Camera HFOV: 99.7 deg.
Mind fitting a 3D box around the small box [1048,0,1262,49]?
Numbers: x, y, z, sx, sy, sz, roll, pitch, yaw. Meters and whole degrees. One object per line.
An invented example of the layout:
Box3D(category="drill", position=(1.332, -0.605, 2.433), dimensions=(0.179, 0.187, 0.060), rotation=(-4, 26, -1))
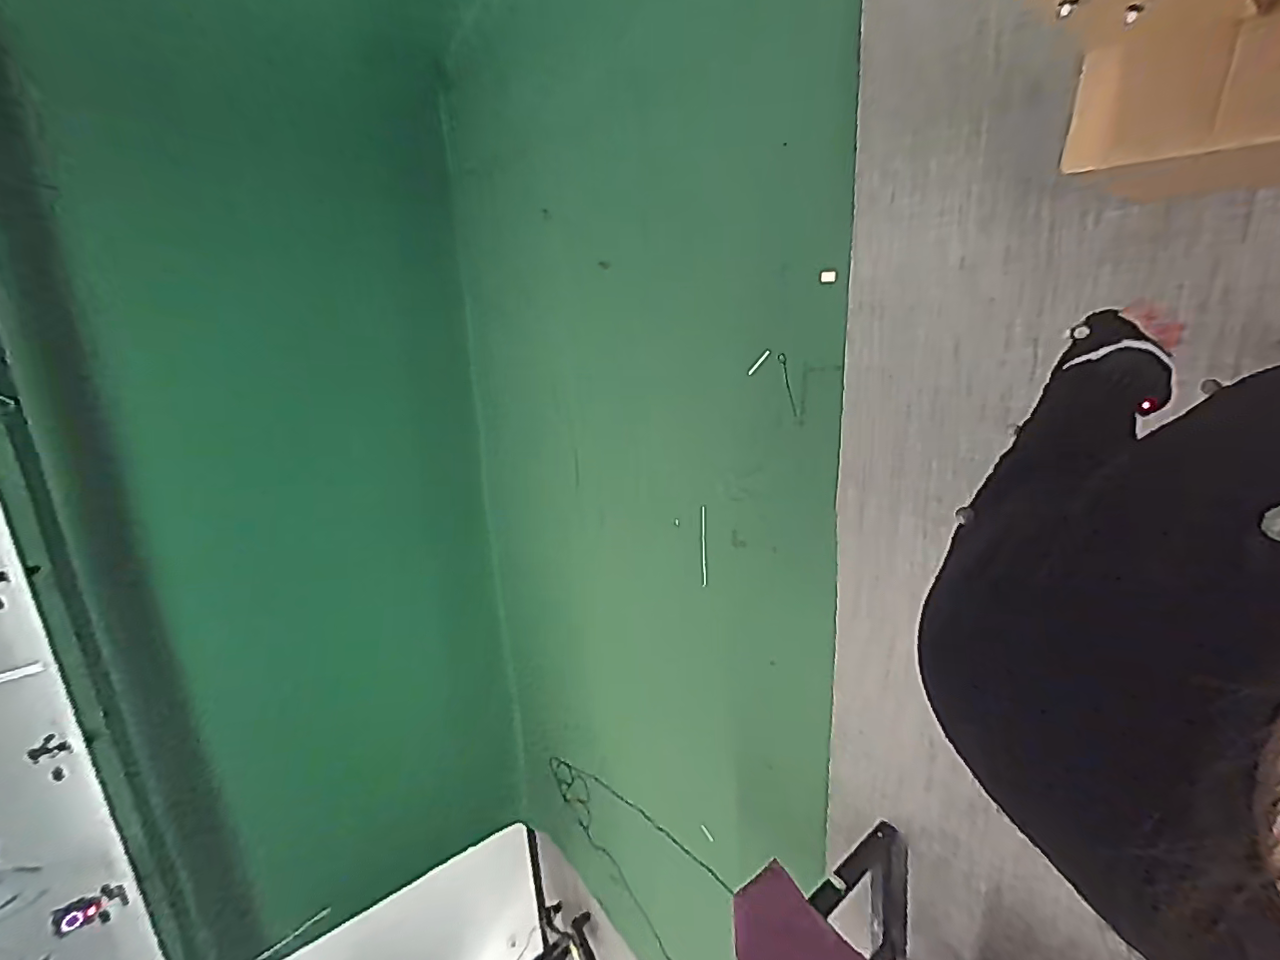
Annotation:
Box3D(category="small box", position=(0.640, -0.649, 0.645), dimensions=(0.179, 0.176, 0.168), rotation=(28, 123, 45))
